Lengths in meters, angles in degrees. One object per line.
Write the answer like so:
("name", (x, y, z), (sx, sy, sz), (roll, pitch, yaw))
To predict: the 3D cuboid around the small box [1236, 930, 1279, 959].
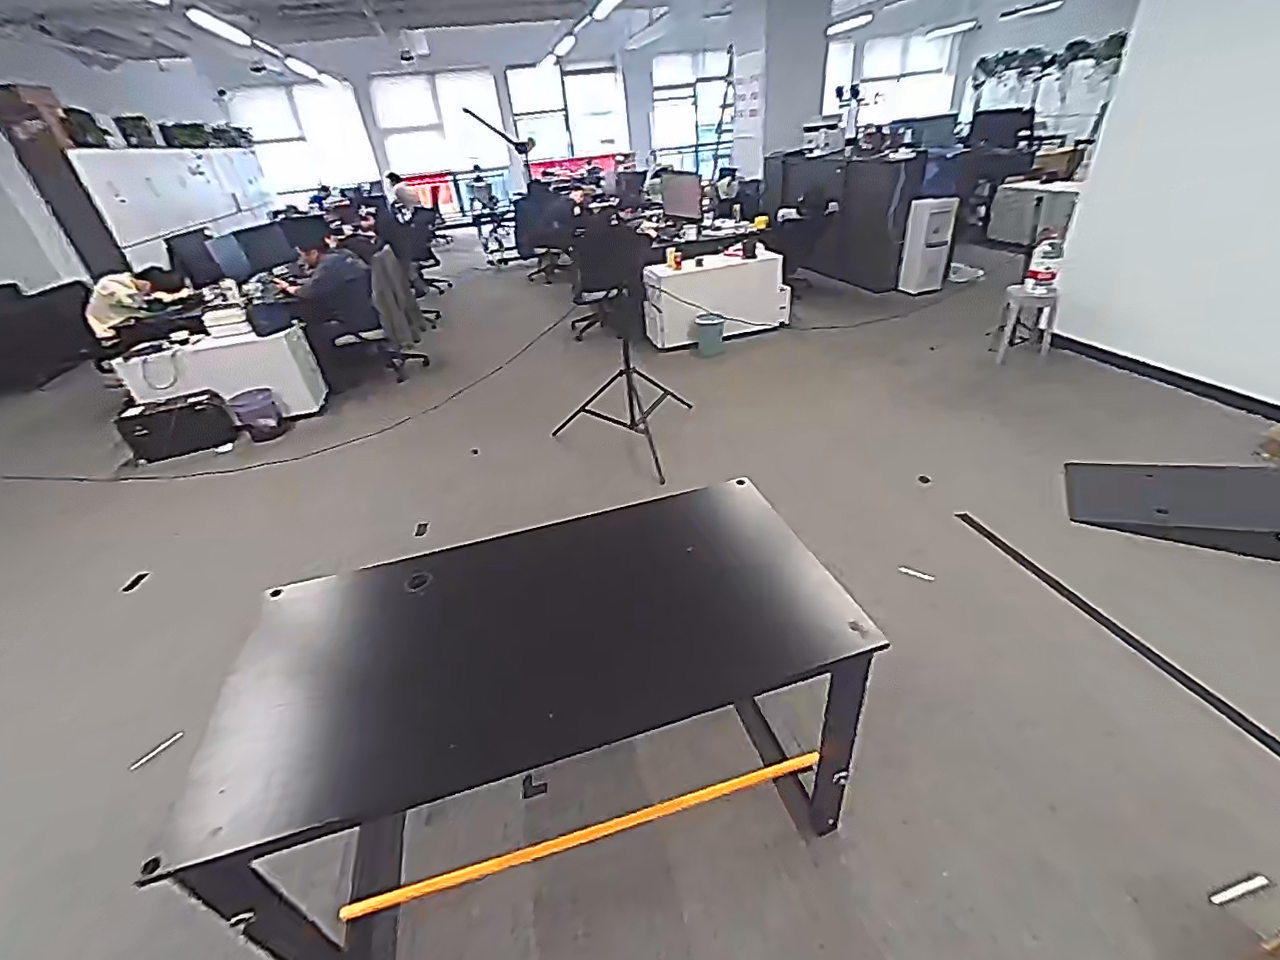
("small box", (1.264, 0.961, 1.002), (0.168, 0.176, 0.179), (-15, 34, -13))
